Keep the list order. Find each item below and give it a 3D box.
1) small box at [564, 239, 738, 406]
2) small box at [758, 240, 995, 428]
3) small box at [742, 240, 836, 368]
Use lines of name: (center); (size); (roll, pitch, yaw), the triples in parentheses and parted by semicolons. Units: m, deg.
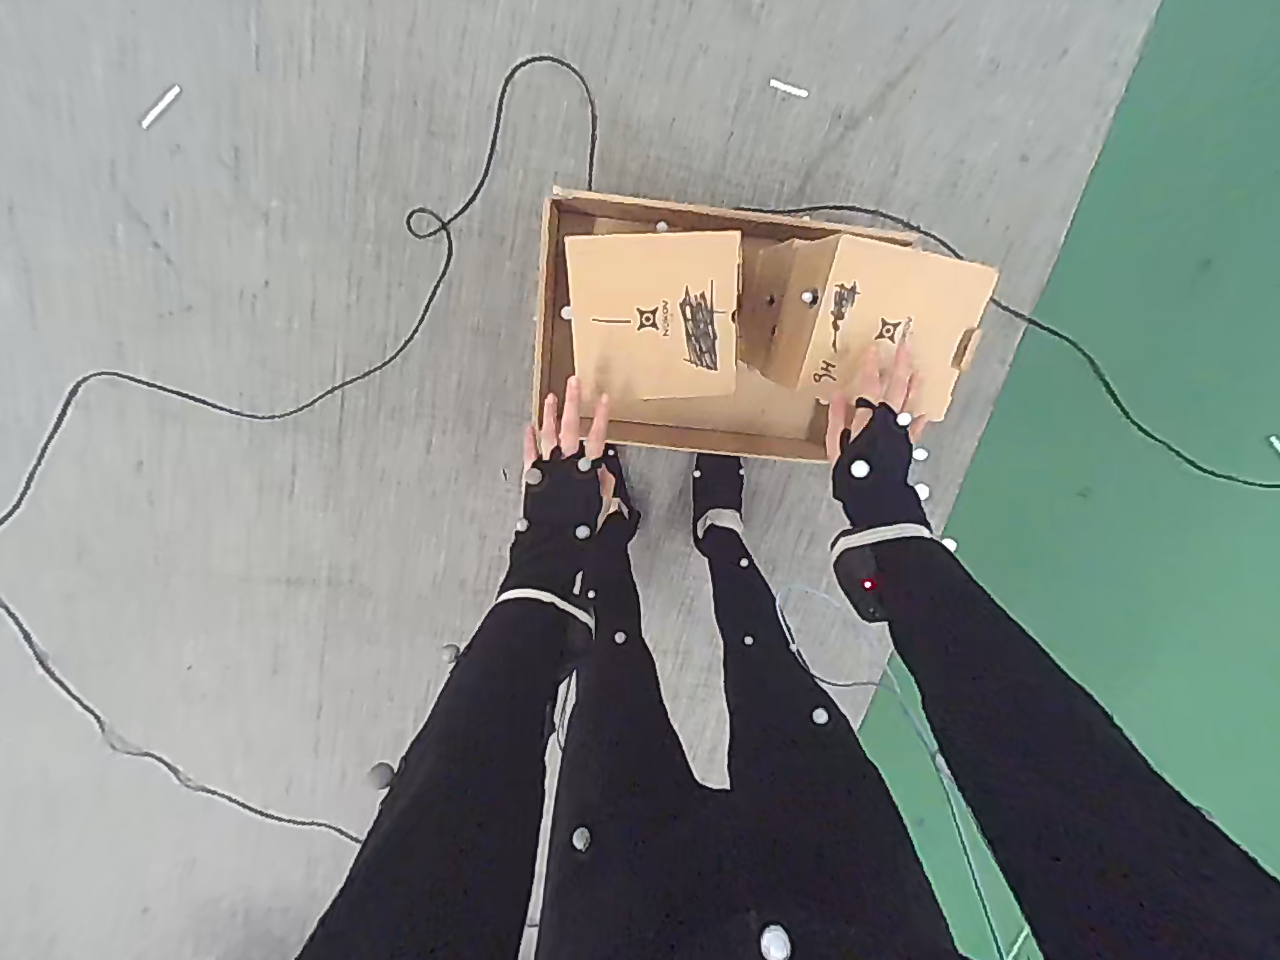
small box: (0.008, -0.187, 0.632); (0.179, 0.176, 0.168); (-3, 109, -2)
small box: (0.261, -0.174, 0.644); (0.179, 0.176, 0.168); (11, 107, -6)
small box: (0.259, -0.239, 0.797); (0.168, 0.176, 0.179); (8, 108, -4)
